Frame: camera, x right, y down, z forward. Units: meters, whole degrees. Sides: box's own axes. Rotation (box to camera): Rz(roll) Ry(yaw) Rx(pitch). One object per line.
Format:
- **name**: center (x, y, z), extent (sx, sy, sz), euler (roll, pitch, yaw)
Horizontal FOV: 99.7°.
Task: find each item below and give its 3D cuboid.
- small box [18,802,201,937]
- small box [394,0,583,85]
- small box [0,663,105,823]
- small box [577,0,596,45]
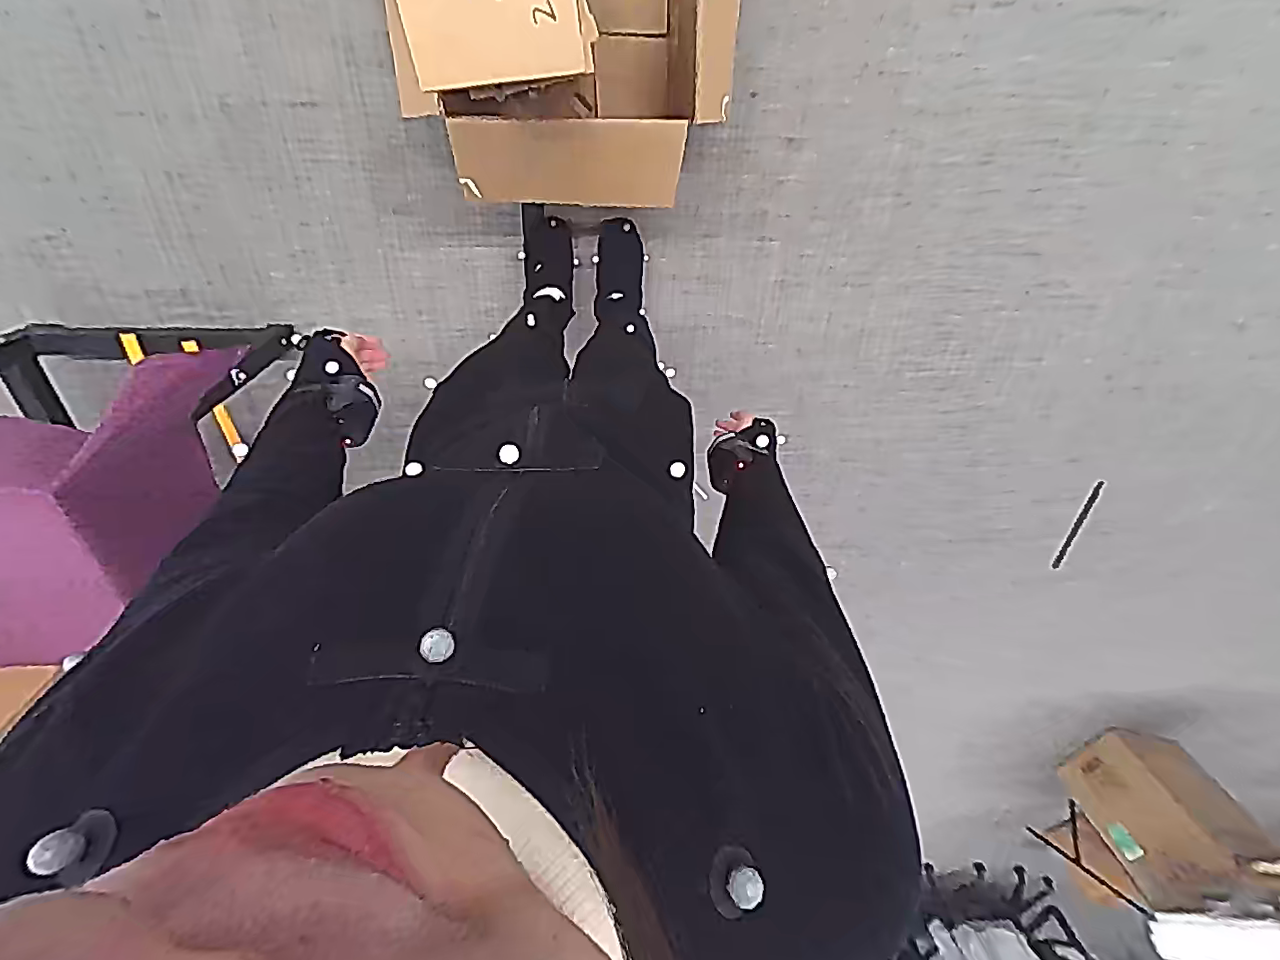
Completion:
- **small box**: center (-1.009, 0.755, 1.057), extent (0.179, 0.176, 0.168), euler (2, 123, -6)
- **small box**: center (-0.160, -0.526, 0.572), extent (0.179, 0.176, 0.168), euler (-9, 128, -4)
- **small box**: center (-0.990, 0.399, 0.828), extent (0.179, 0.176, 0.168), euler (-1, 123, -5)
- **small box**: center (-0.180, -0.738, 0.825), extent (0.179, 0.176, 0.168), euler (-21, 126, 4)
